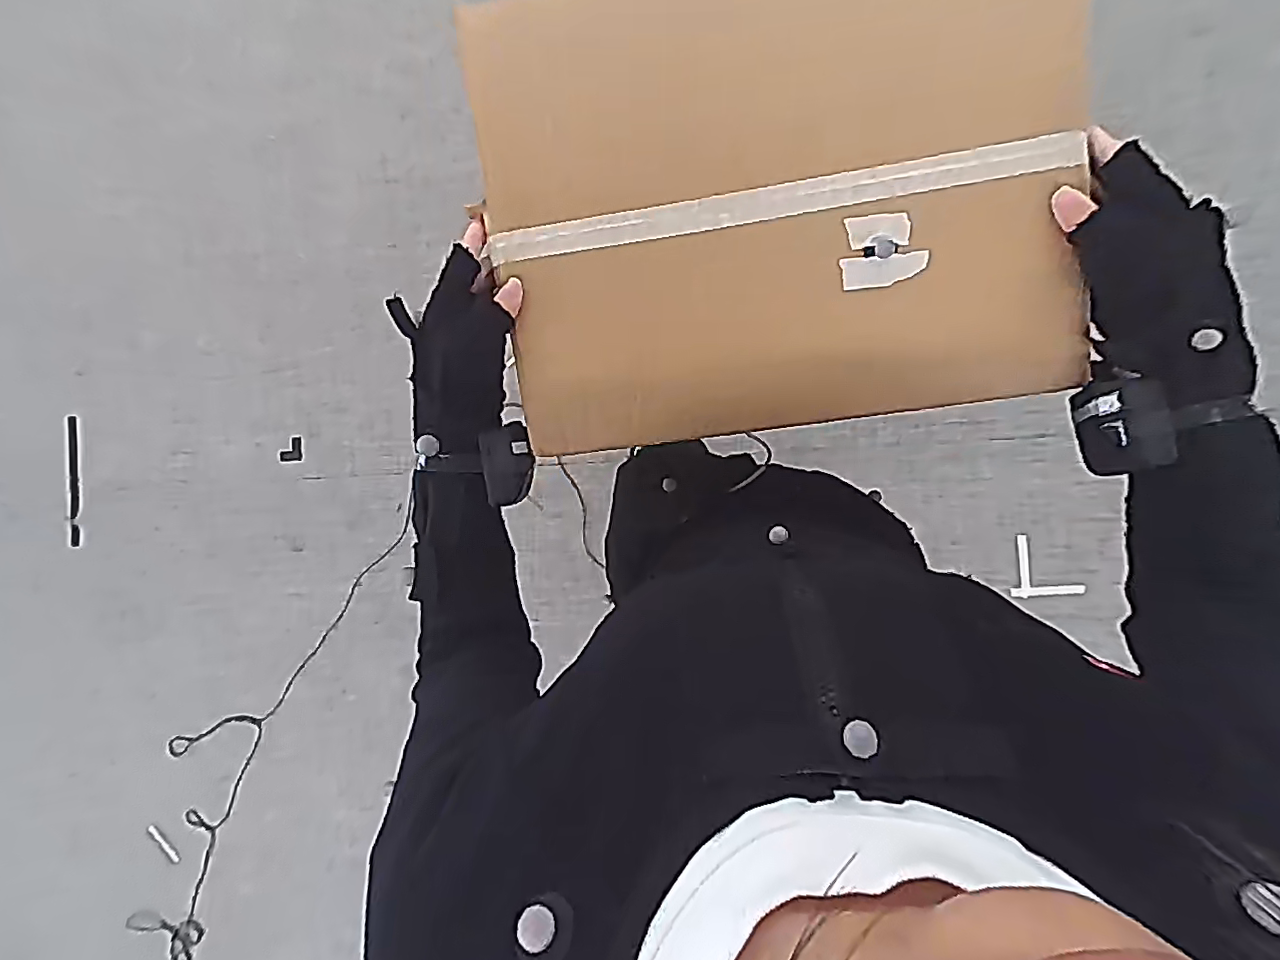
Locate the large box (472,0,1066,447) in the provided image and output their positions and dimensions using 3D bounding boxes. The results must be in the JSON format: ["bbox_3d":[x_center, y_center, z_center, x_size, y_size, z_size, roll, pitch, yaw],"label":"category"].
[{"bbox_3d":[0.103,-0.226,0.538,0.408,0.320,0.320,-8,100,4],"label":"large box"}]
